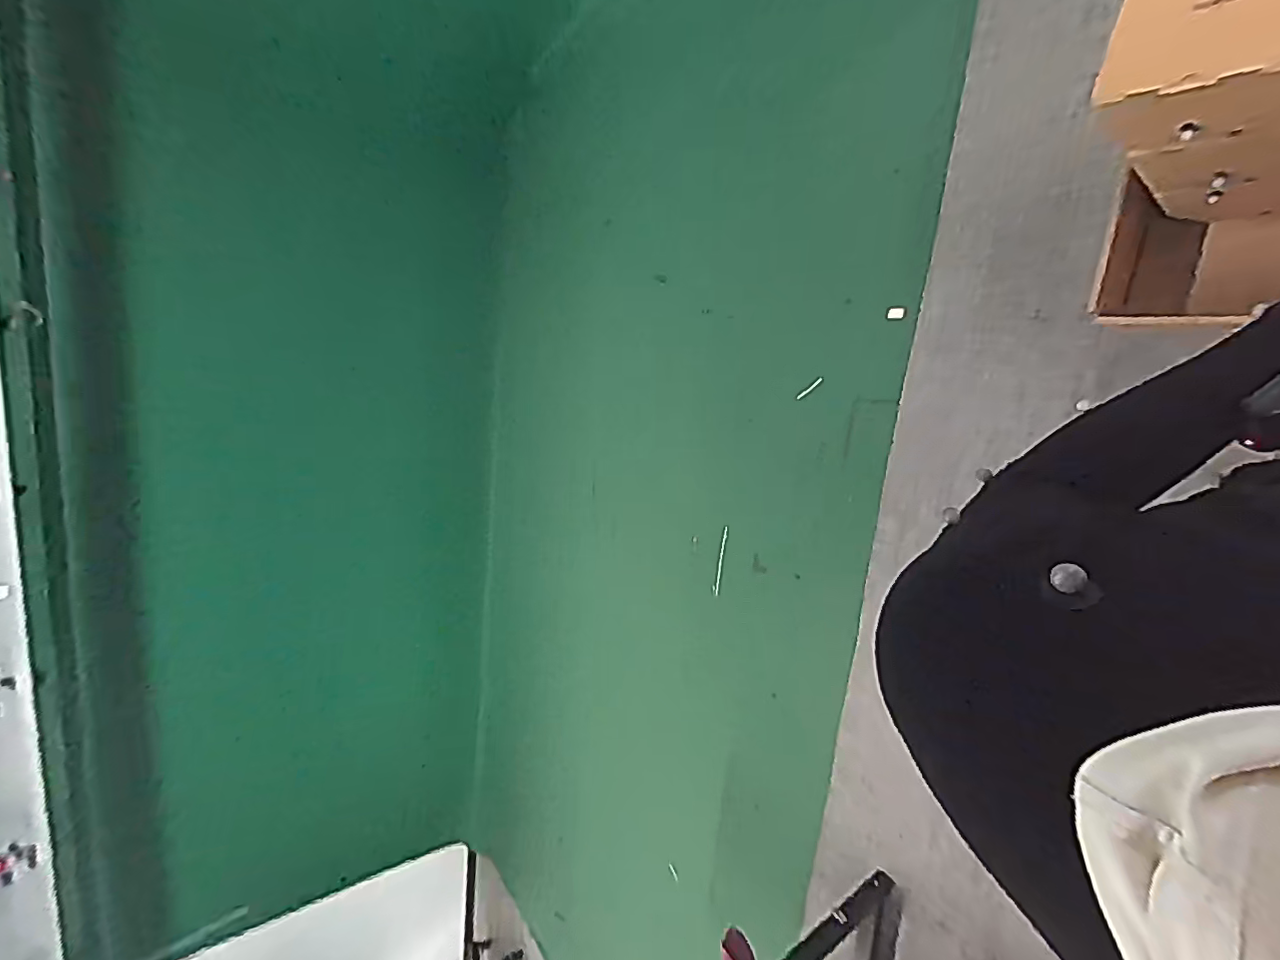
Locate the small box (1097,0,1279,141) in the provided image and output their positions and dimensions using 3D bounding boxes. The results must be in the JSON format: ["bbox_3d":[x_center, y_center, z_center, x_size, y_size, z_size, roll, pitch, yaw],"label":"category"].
[{"bbox_3d":[0.634,-0.494,0.572,0.168,0.176,0.179,27,113,49],"label":"small box"}]

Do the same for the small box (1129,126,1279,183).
[{"bbox_3d":[0.761,-0.499,0.674,0.168,0.176,0.179,25,112,50],"label":"small box"}]

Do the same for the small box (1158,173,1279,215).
[{"bbox_3d":[0.891,-0.503,0.771,0.168,0.176,0.179,22,109,52],"label":"small box"}]
